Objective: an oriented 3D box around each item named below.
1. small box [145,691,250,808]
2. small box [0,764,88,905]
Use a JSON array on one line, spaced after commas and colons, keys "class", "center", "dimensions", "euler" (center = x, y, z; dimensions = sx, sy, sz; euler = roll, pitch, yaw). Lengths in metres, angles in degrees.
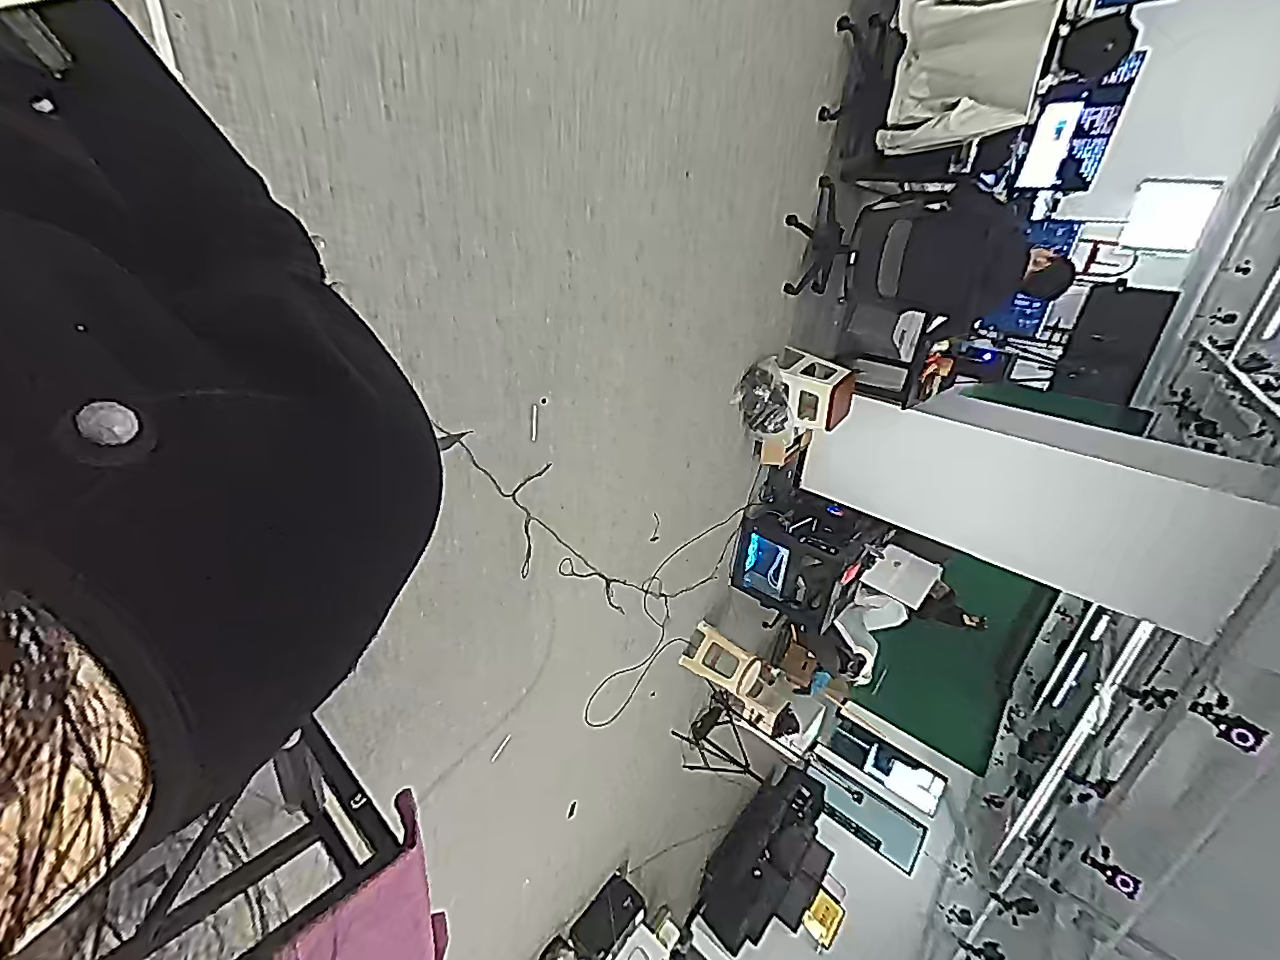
[{"class": "small box", "center": [-1.147, 0.691, 1.405], "dimensions": [0.168, 0.176, 0.179], "euler": [-19, 126, -47]}, {"class": "small box", "center": [-1.352, 0.767, 1.175], "dimensions": [0.168, 0.176, 0.179], "euler": [-23, 127, -45]}]
